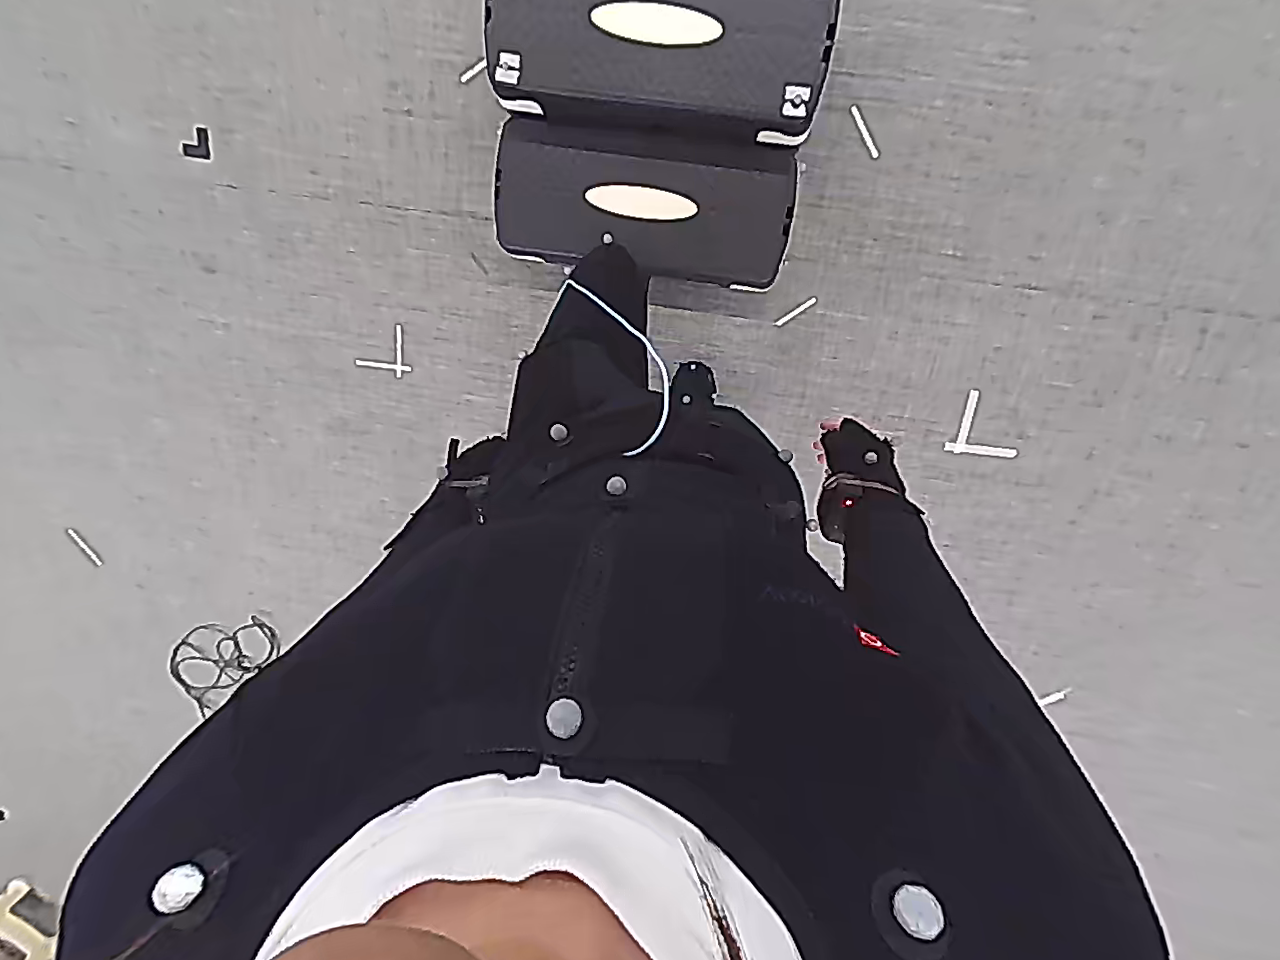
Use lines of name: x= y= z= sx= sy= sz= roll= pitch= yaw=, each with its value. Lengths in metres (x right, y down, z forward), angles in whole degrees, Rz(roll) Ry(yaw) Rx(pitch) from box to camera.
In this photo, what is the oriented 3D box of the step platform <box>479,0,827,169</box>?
step platform: x=0.020 y=-0.854 z=1.117 sx=0.684 sy=0.204 sz=0.286 roll=8 pitch=107 yaw=2
